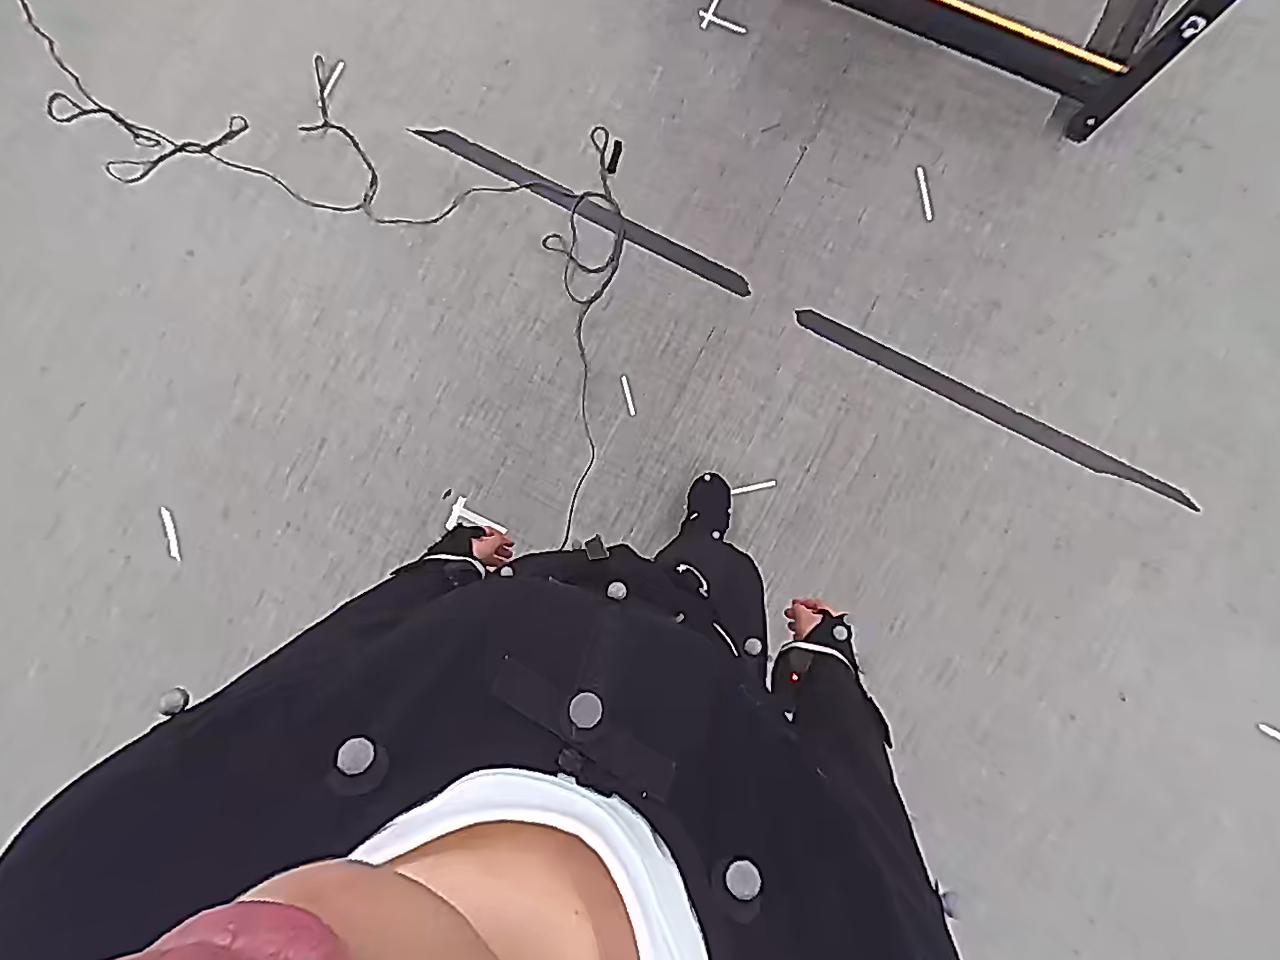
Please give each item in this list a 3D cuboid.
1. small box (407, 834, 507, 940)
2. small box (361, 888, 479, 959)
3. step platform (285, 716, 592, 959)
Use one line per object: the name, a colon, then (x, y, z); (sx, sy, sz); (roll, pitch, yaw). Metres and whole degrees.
small box: (-0.397, 0.884, 1.106); (0.168, 0.176, 0.179); (29, 89, 4)
small box: (-0.408, 0.880, 0.942); (0.168, 0.176, 0.179); (28, 89, 5)
step platform: (-0.467, 0.869, 1.285); (0.684, 0.204, 0.286); (27, 90, 4)
